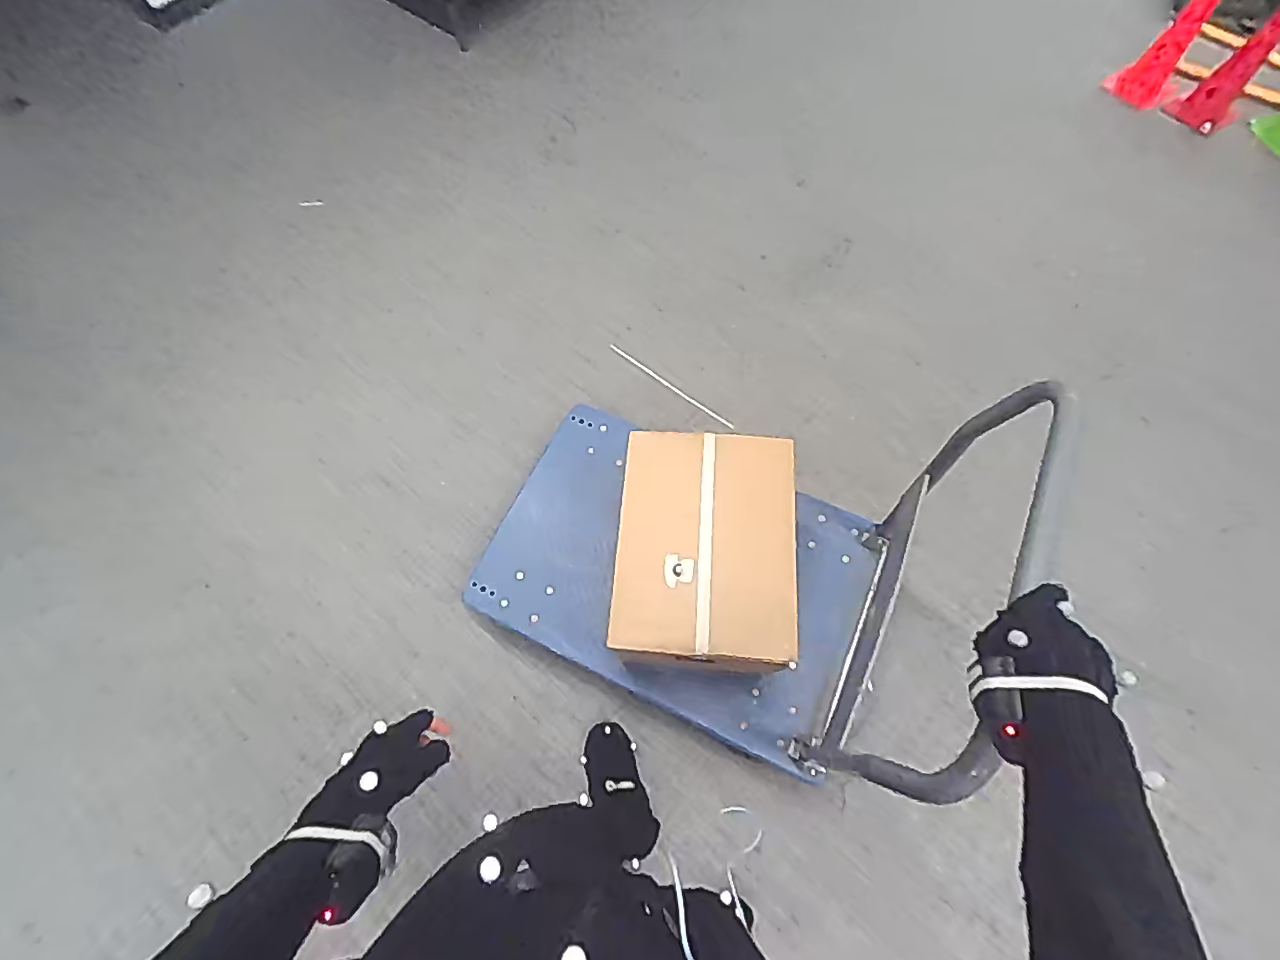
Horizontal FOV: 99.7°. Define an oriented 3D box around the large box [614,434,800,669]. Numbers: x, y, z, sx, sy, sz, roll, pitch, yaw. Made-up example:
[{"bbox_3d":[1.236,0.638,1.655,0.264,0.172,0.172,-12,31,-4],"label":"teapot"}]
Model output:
[{"bbox_3d":[0.126,0.156,1.095,0.320,0.320,0.408,3,68,5],"label":"large box"}]
